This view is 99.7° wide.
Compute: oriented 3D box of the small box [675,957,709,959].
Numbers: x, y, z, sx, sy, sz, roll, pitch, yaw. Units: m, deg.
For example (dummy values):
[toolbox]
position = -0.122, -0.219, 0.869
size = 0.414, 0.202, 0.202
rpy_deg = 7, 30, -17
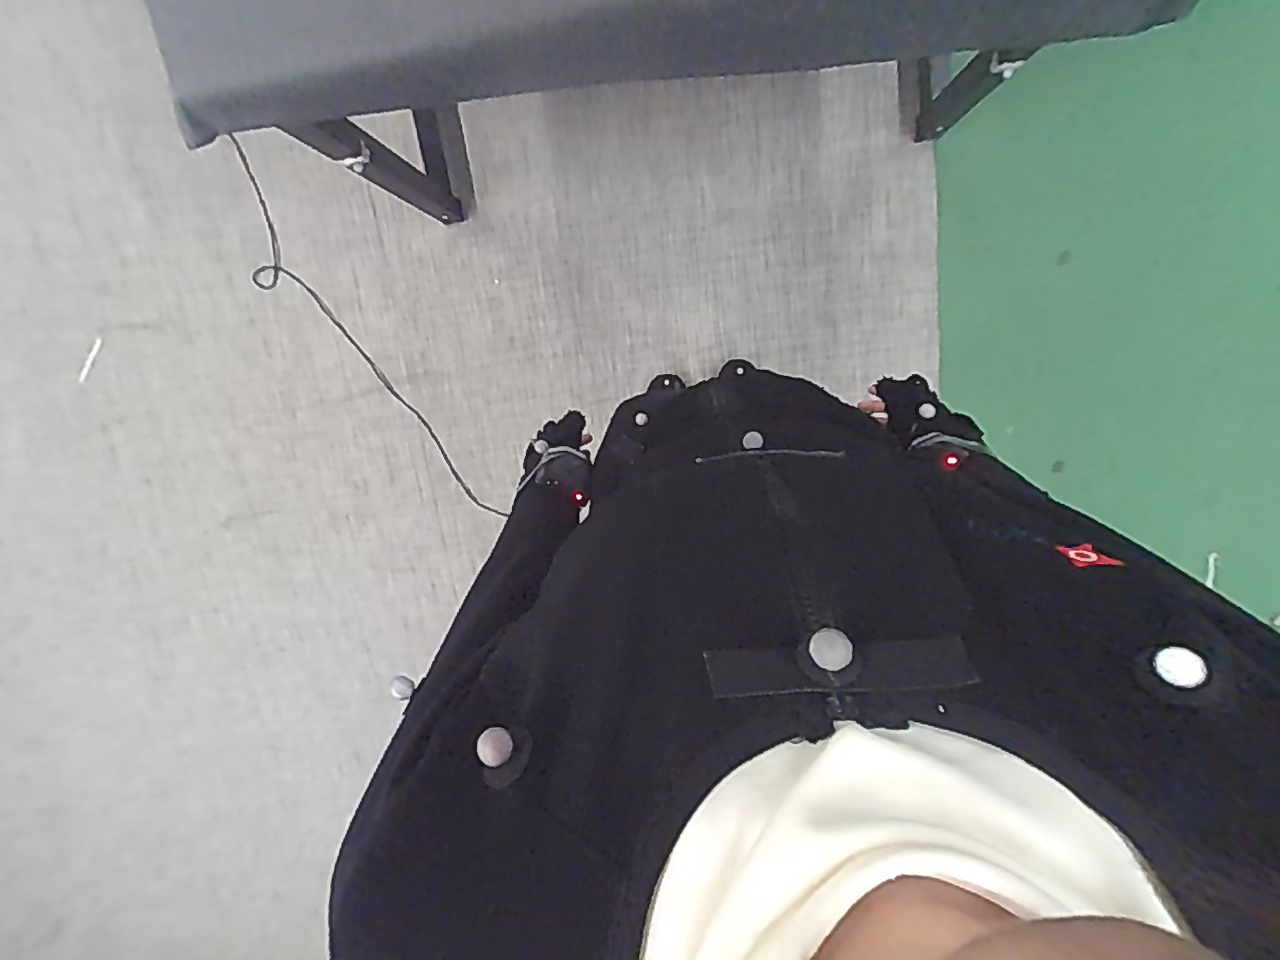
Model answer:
[small box]
position = 0.148, 1.660, 1.707
size = 0.179, 0.176, 0.168
rpy_deg = -10, 103, 4
